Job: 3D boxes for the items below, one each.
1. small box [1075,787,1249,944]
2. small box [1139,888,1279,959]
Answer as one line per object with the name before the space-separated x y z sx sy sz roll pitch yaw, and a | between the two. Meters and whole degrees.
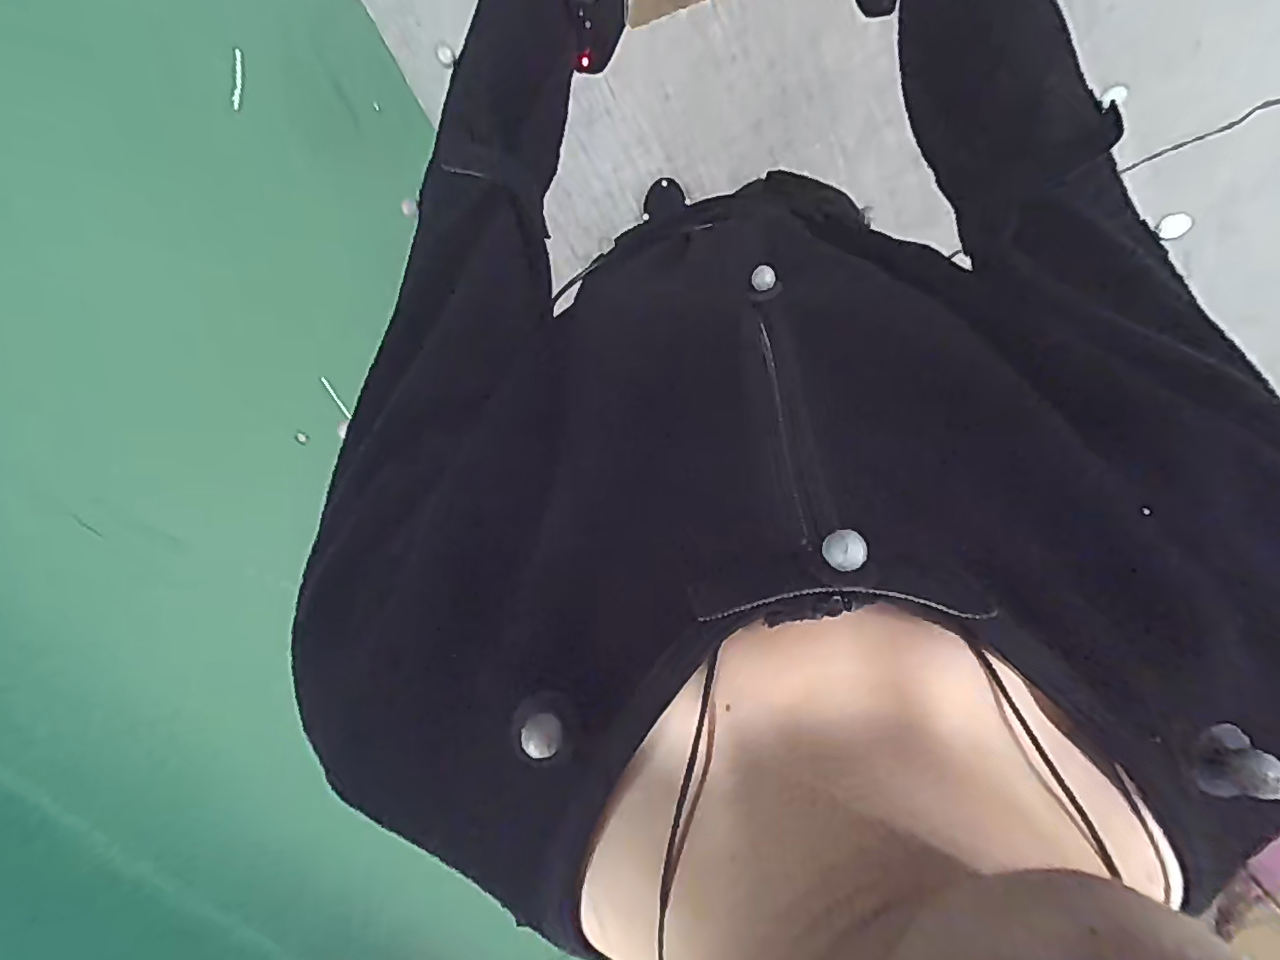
small box | 0.955 0.712 1.003 0.168 0.176 0.179 -22 113 12
small box | 0.956 0.778 0.853 0.179 0.176 0.168 -11 115 9
